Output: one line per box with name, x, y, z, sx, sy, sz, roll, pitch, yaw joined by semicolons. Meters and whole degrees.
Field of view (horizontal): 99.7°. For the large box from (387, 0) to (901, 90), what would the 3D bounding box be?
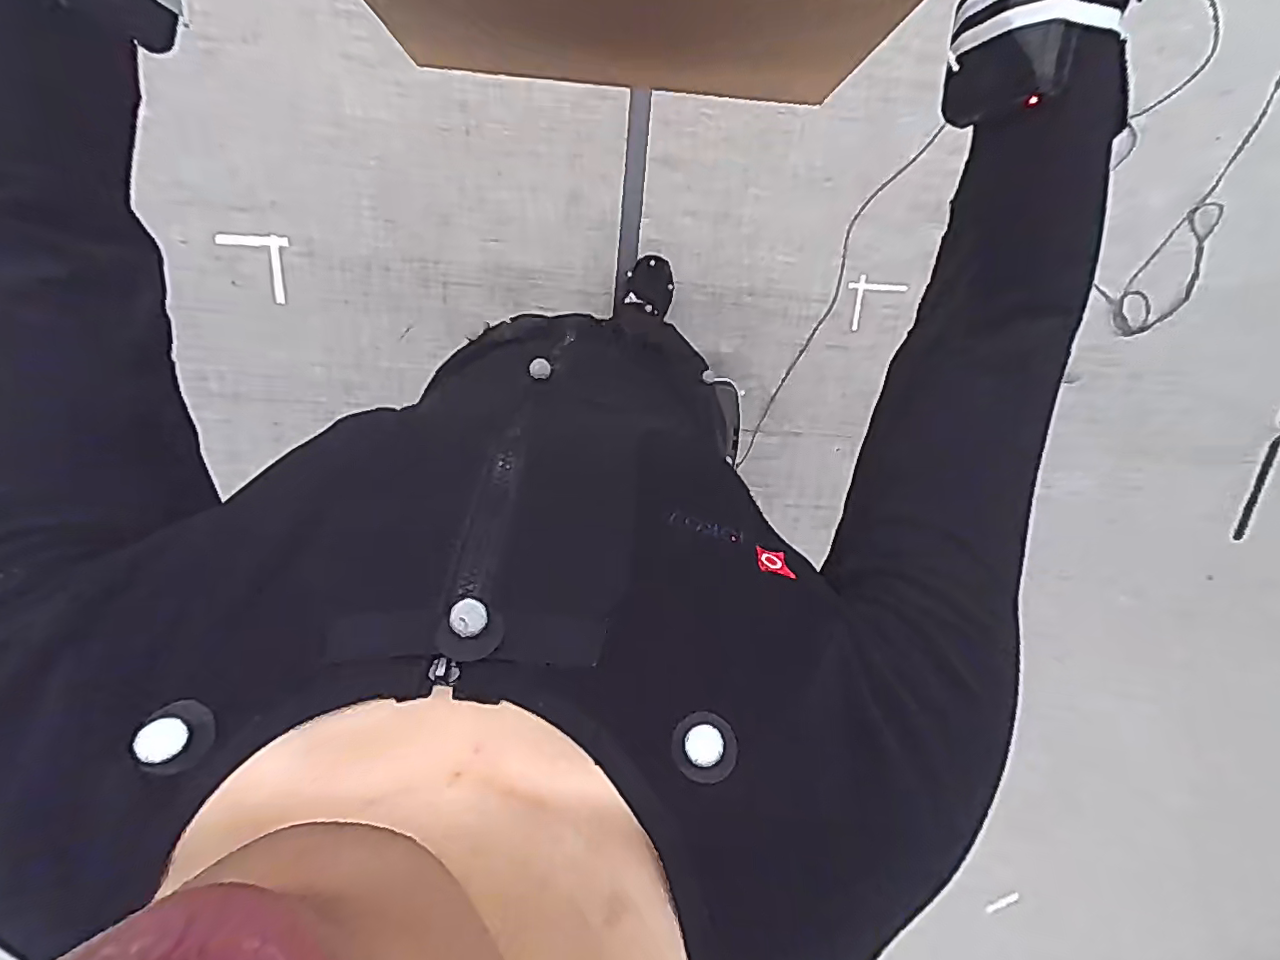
large box;0.002;-0.503;0.355;0.408;0.320;0.320;3;108;-4
